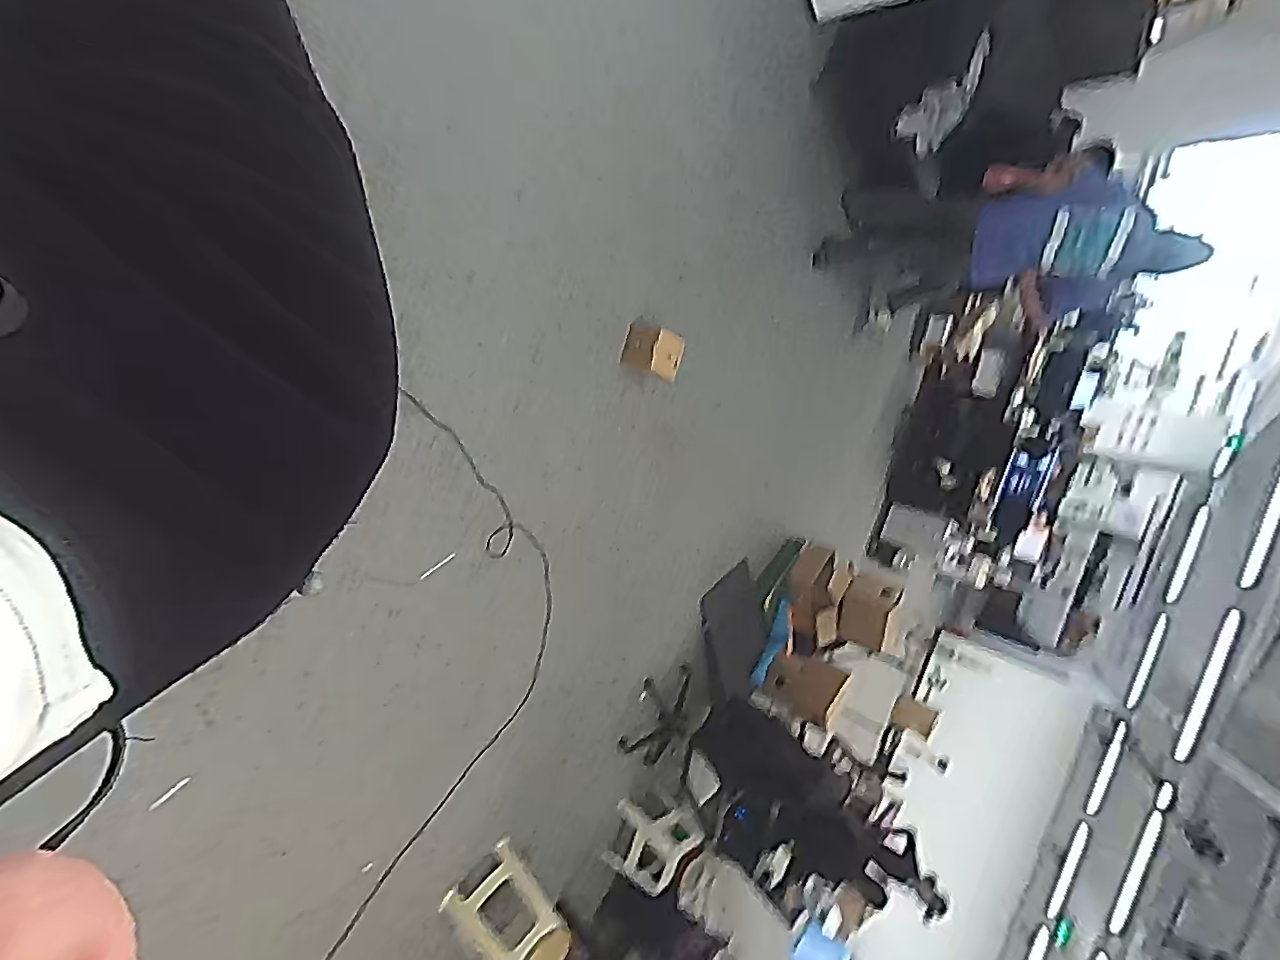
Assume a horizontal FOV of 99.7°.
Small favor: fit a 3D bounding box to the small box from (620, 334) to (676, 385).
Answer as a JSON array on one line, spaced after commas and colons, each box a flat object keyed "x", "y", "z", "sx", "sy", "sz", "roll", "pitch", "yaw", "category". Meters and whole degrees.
[{"x": 0.033, "y": -0.506, "z": 2.239, "sx": 0.168, "sy": 0.176, "sz": 0.179, "roll": -30, "pitch": 125, "yaw": -42, "category": "small box"}]
